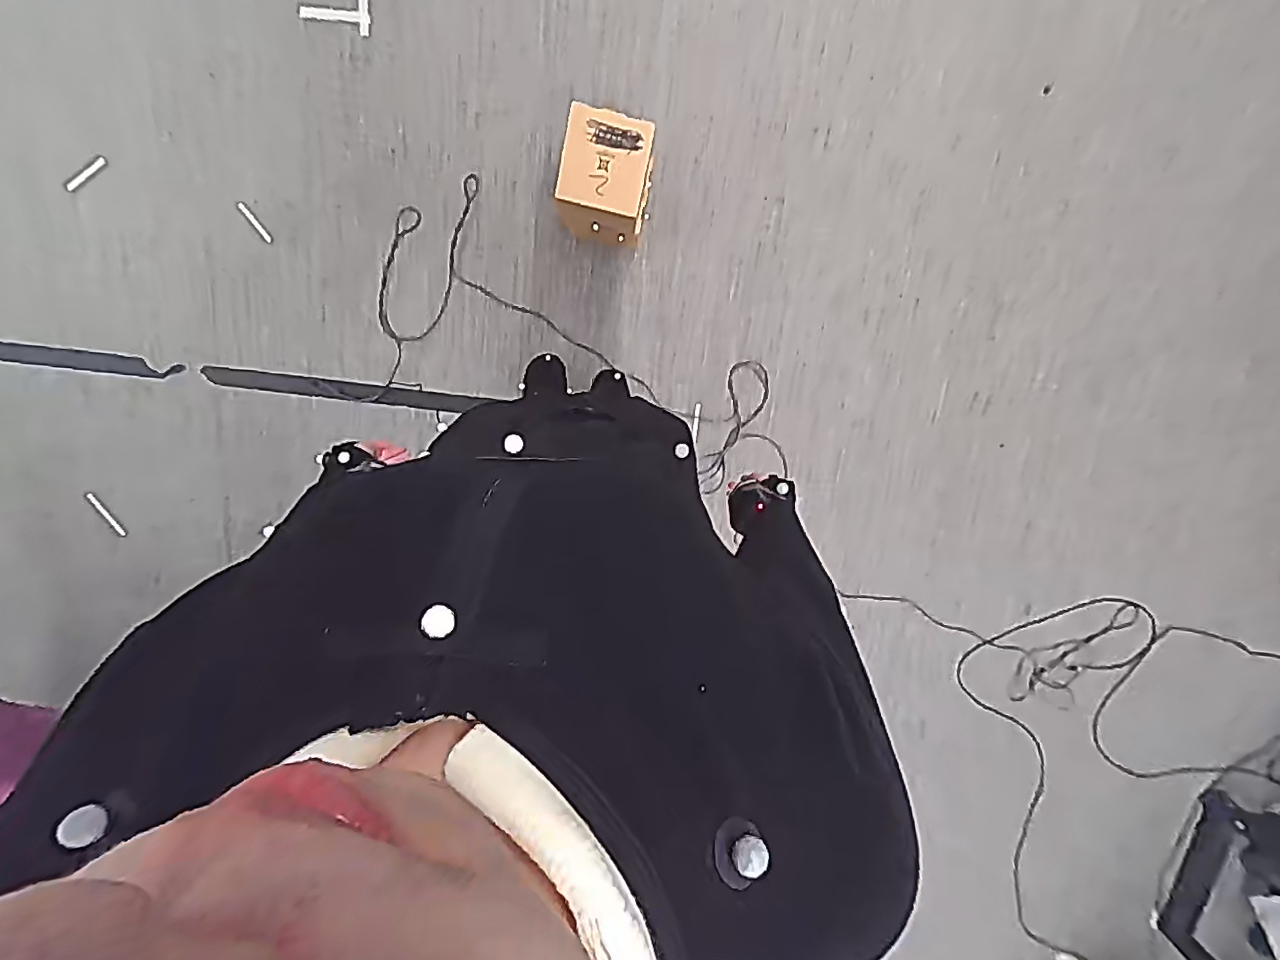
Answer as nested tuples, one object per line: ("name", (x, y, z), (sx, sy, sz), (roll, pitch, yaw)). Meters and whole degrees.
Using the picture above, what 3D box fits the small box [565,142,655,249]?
("small box", (-0.070, -0.661, 1.277), (0.179, 0.176, 0.168), (11, 102, -4))
